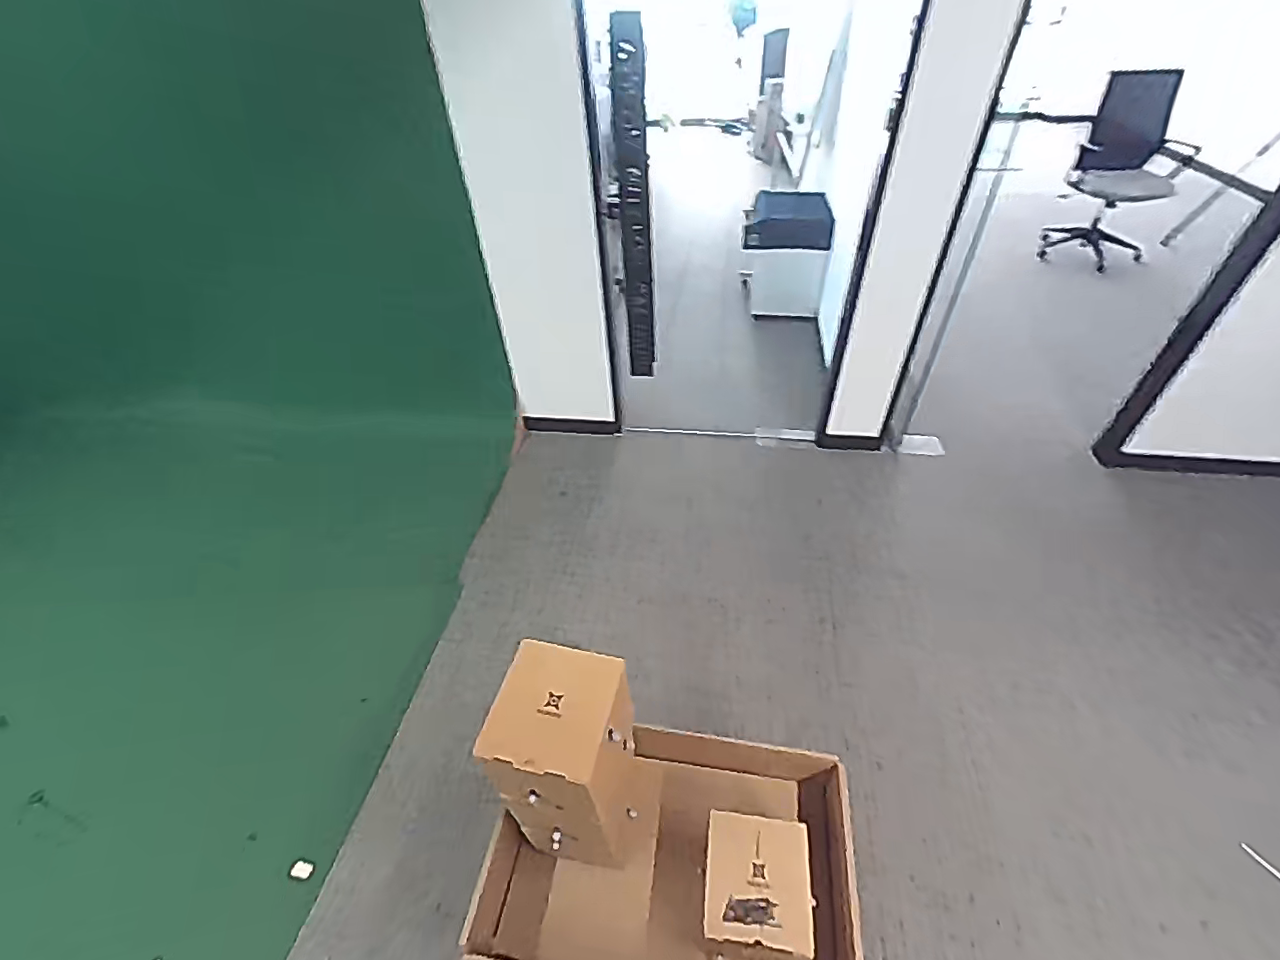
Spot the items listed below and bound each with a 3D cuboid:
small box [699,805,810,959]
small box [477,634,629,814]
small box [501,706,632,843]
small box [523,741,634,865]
[{"bbox_3d":[0.189,0.690,0.922,0.168,0.176,0.179,5,43,8],"label":"small box"},{"bbox_3d":[-0.116,0.365,0.812,0.168,0.176,0.179,9,46,12],"label":"small box"},{"bbox_3d":[-0.113,0.483,0.923,0.168,0.176,0.179,7,45,12],"label":"small box"},{"bbox_3d":[-0.107,0.602,1.036,0.168,0.176,0.179,7,44,10],"label":"small box"}]
